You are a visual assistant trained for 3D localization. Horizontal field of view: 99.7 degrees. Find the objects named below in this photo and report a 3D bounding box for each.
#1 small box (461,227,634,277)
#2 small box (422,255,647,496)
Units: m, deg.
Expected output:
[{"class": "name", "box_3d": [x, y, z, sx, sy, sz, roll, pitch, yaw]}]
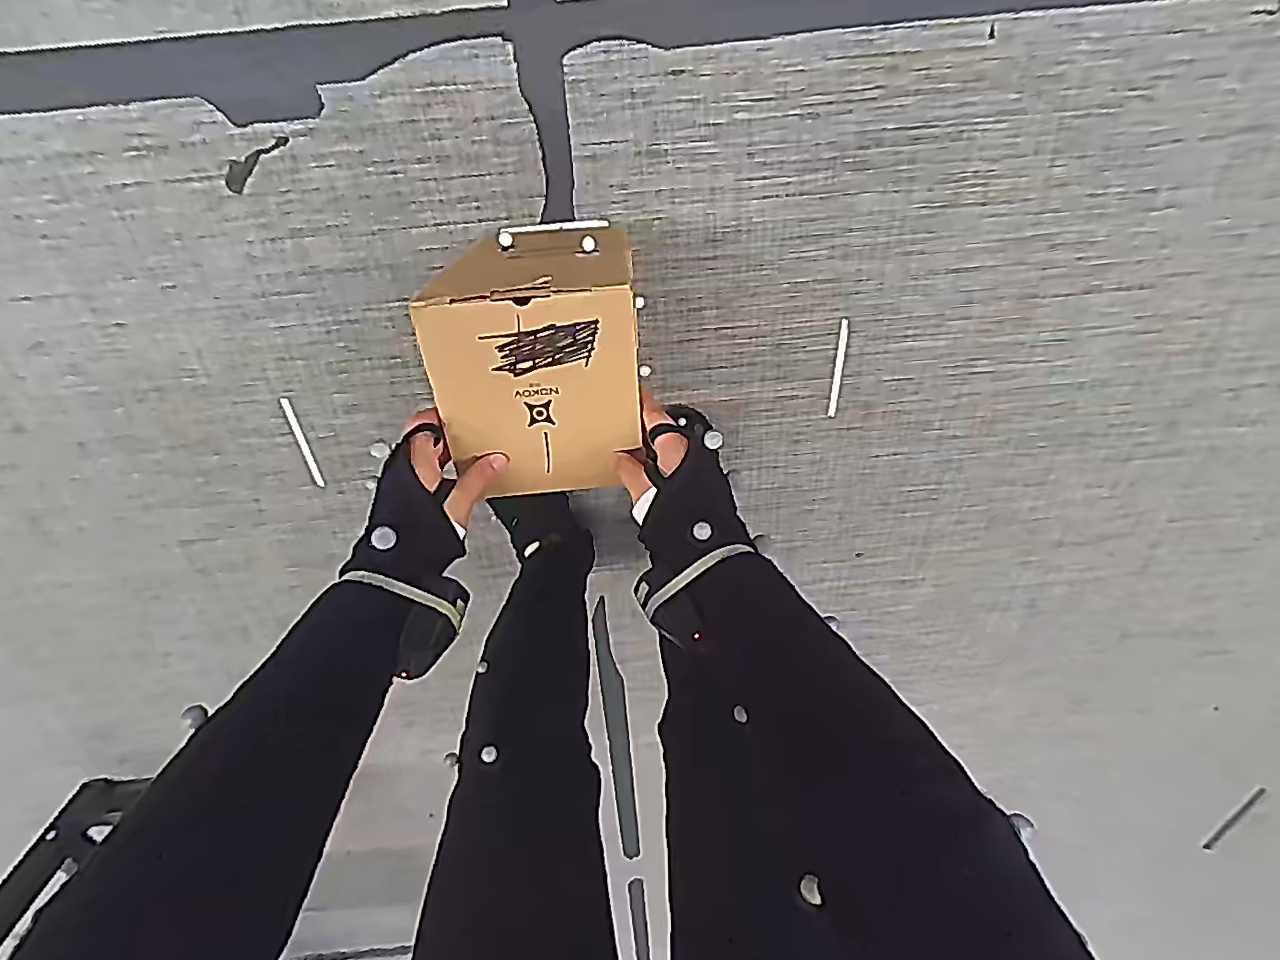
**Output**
[{"class": "small box", "box_3d": [-0.094, -0.200, 0.649, 0.179, 0.176, 0.168, -4, 123, -2]}, {"class": "small box", "box_3d": [-0.084, -0.107, 0.510, 0.168, 0.176, 0.179, -4, 124, -2]}]
